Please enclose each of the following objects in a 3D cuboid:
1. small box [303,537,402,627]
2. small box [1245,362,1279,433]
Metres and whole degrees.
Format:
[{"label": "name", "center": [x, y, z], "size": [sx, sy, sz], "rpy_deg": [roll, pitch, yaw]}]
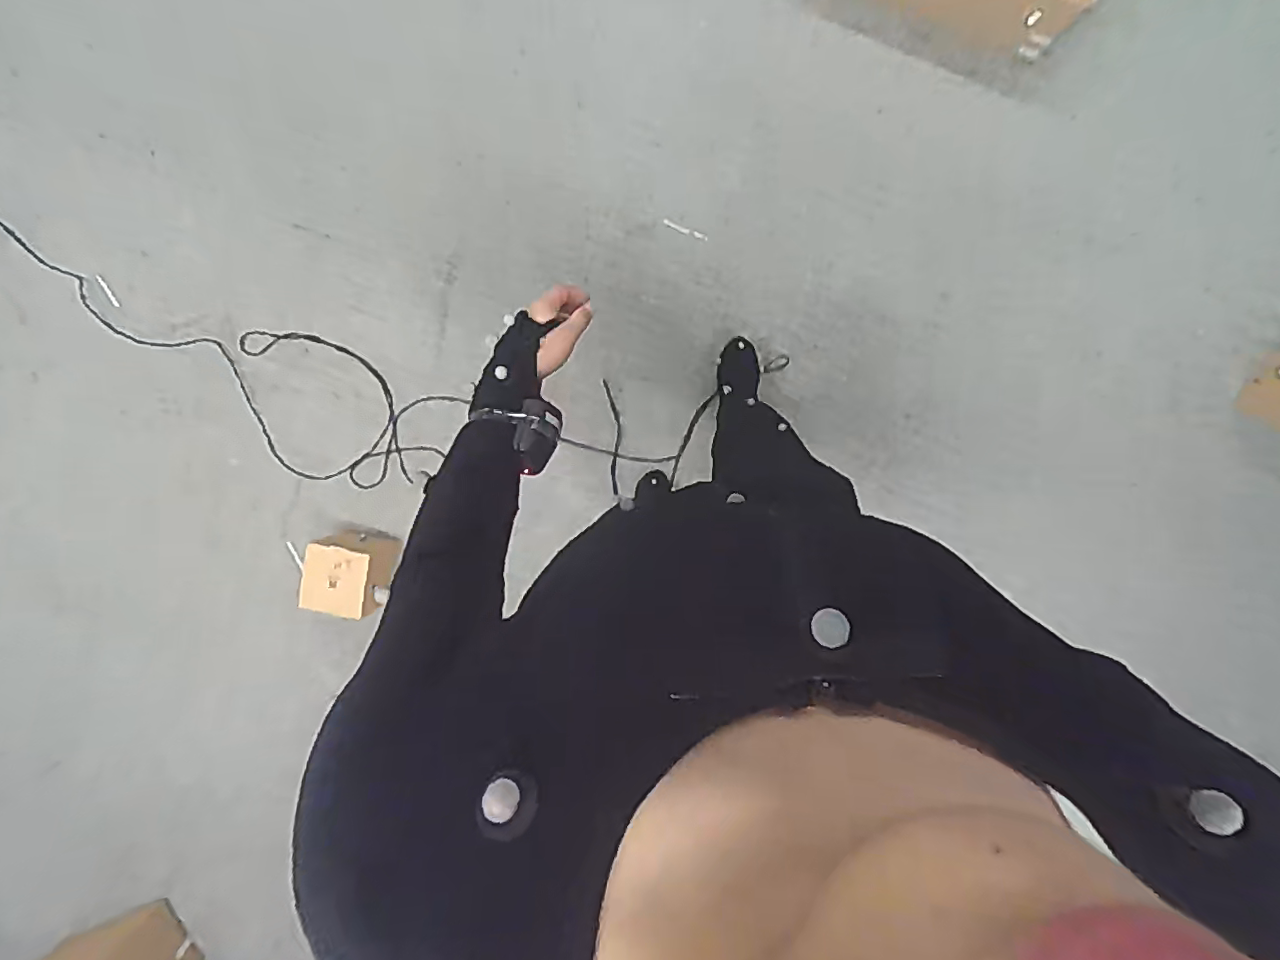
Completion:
[{"label": "small box", "center": [-0.756, 0.265, 1.437], "size": [0.168, 0.176, 0.179], "rpy_deg": [11, 96, 0]}, {"label": "small box", "center": [1.674, -0.205, 1.321], "size": [0.179, 0.176, 0.168], "rpy_deg": [32, 96, -2]}]
